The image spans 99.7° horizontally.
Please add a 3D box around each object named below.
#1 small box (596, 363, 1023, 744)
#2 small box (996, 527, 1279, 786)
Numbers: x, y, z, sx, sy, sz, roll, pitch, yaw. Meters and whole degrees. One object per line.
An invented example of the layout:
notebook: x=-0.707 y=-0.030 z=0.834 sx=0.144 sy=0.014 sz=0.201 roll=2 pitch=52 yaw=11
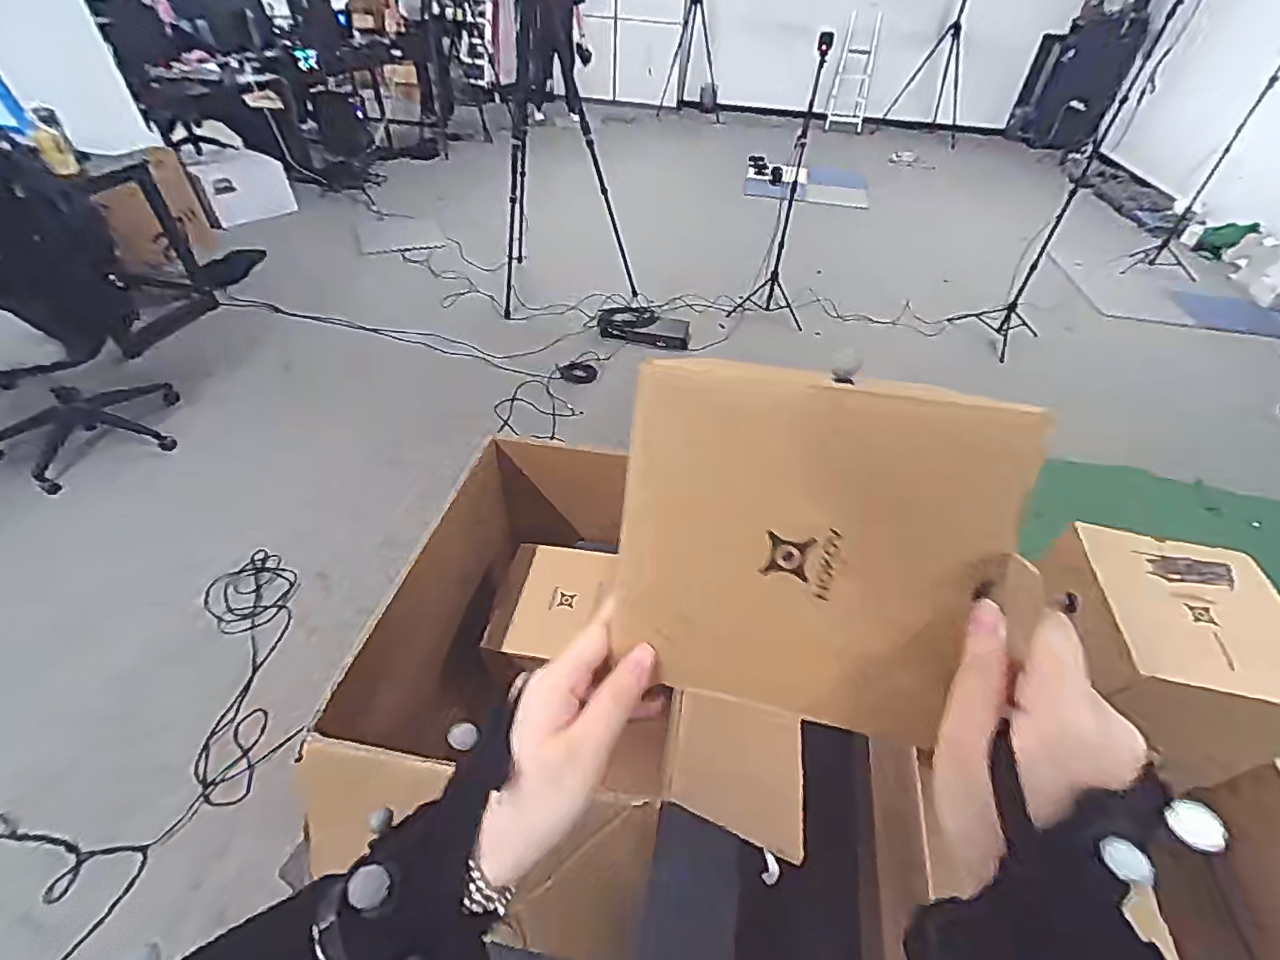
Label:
small box: x=0.087 y=0.022 z=0.339 sx=0.179 sy=0.168 sz=0.176 roll=10 pitch=14 yaw=11
small box: x=0.505 y=0.181 z=0.558 sx=0.168 sy=0.176 sz=0.179 roll=11 pitch=46 yaw=8
